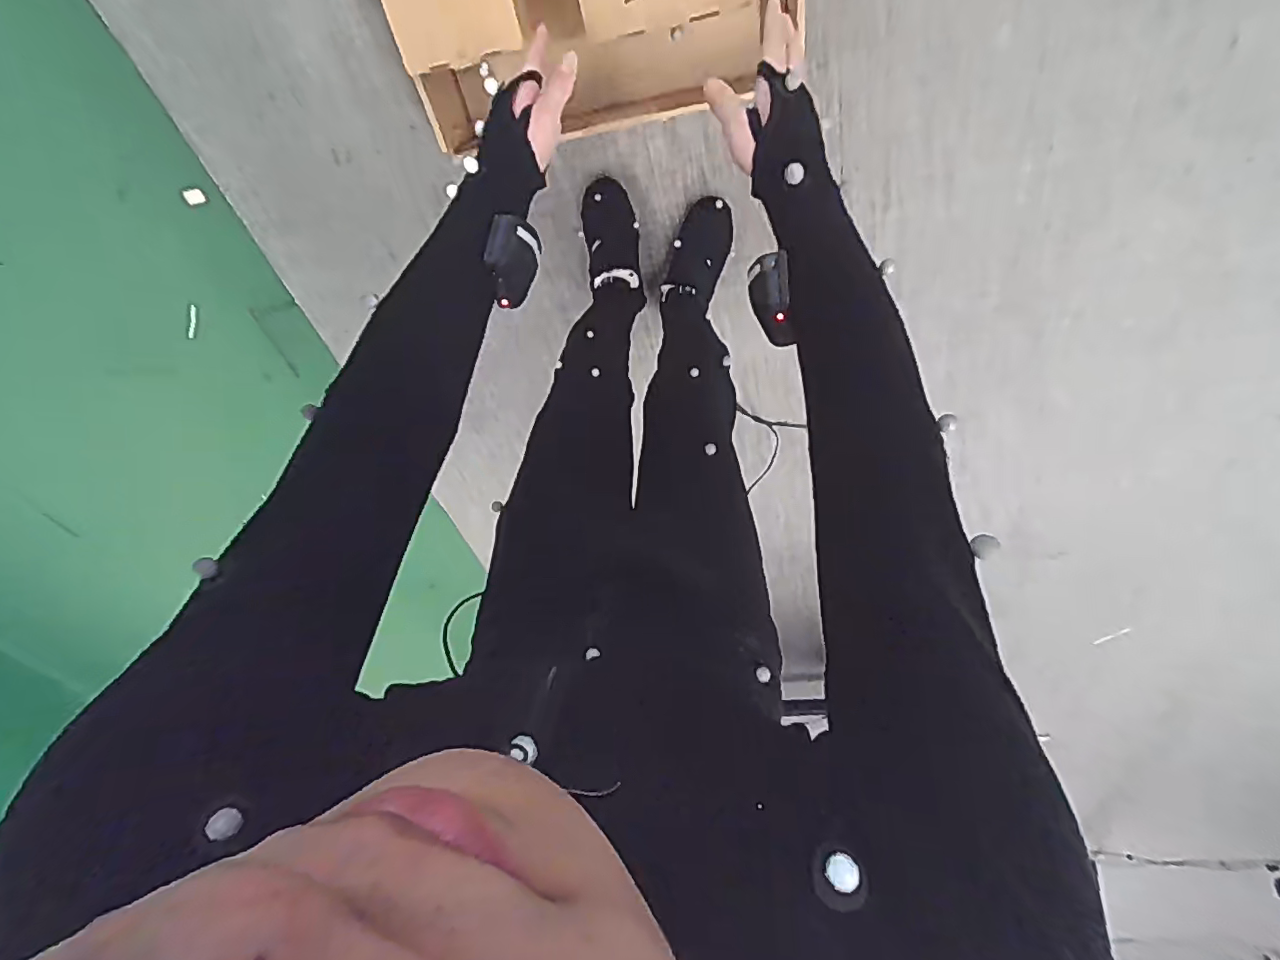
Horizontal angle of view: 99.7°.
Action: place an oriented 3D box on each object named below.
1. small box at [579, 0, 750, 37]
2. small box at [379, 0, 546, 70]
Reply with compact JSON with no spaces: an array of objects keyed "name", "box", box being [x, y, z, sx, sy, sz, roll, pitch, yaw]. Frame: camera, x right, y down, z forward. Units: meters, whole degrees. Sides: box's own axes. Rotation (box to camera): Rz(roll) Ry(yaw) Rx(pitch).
[{"name":"small box","box":[0.021,-0.561,0.525,0.168,0.176,0.179,-3,131,13]},{"name":"small box","box":[-0.235,-0.657,0.697,0.168,0.176,0.179,-5,130,11]}]
